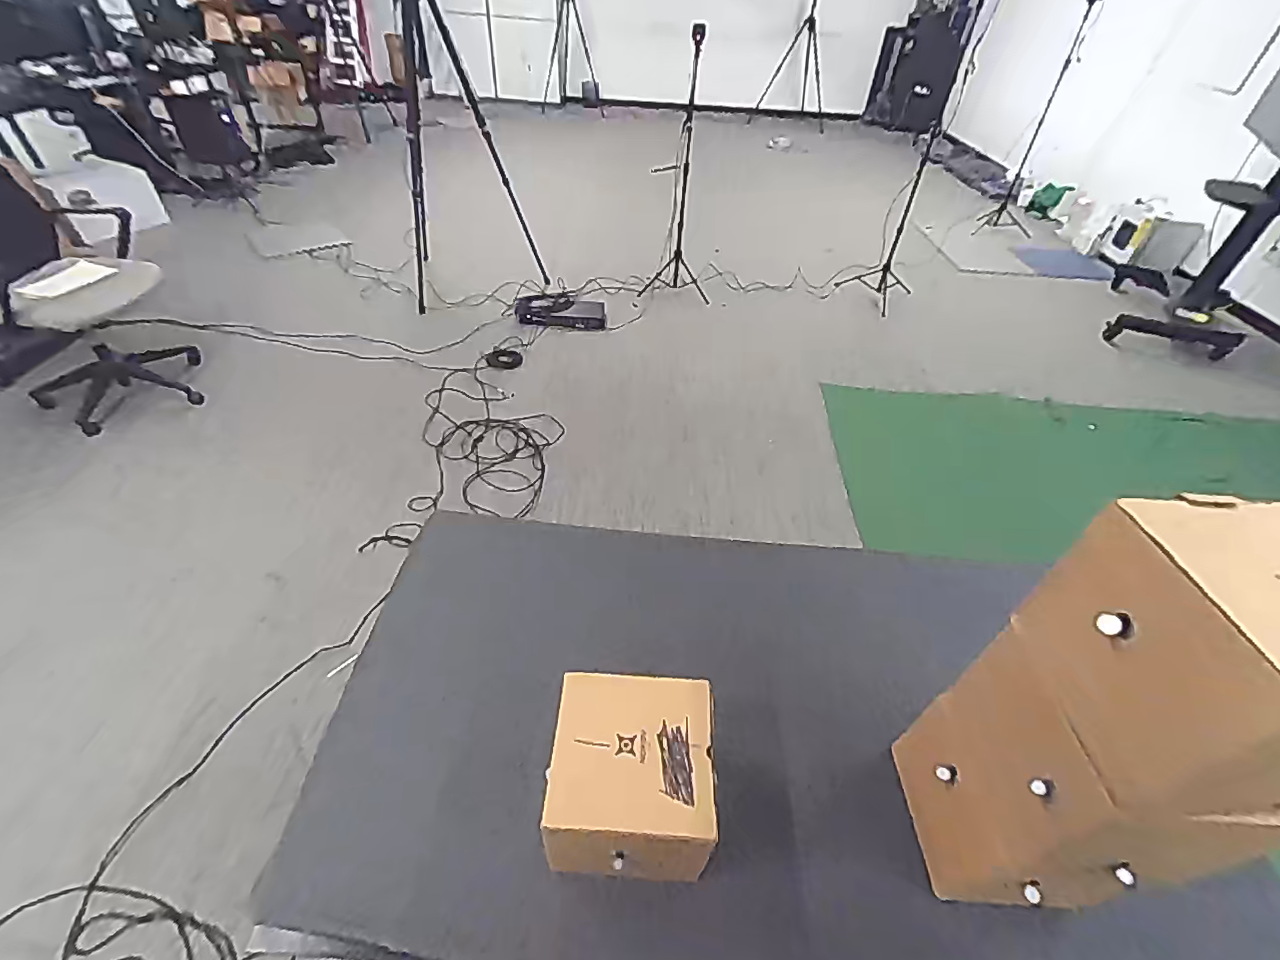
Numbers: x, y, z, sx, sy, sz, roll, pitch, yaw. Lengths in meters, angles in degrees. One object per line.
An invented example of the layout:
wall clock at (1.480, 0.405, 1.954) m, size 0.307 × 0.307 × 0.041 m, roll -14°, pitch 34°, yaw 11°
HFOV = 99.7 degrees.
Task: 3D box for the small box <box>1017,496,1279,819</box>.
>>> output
small box at (0.441, 0.132, 0.411) m, size 0.168 × 0.176 × 0.179 m, roll 1°, pitch 42°, yaw -2°

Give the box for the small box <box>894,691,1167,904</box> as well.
small box at (0.428, 0.373, 0.634) m, size 0.168 × 0.176 × 0.179 m, roll 3°, pitch 42°, yaw 0°

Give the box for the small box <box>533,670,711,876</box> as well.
small box at (-0.017, 0.344, 0.633) m, size 0.179 × 0.176 × 0.168 m, roll 4°, pitch 43°, yaw 1°
